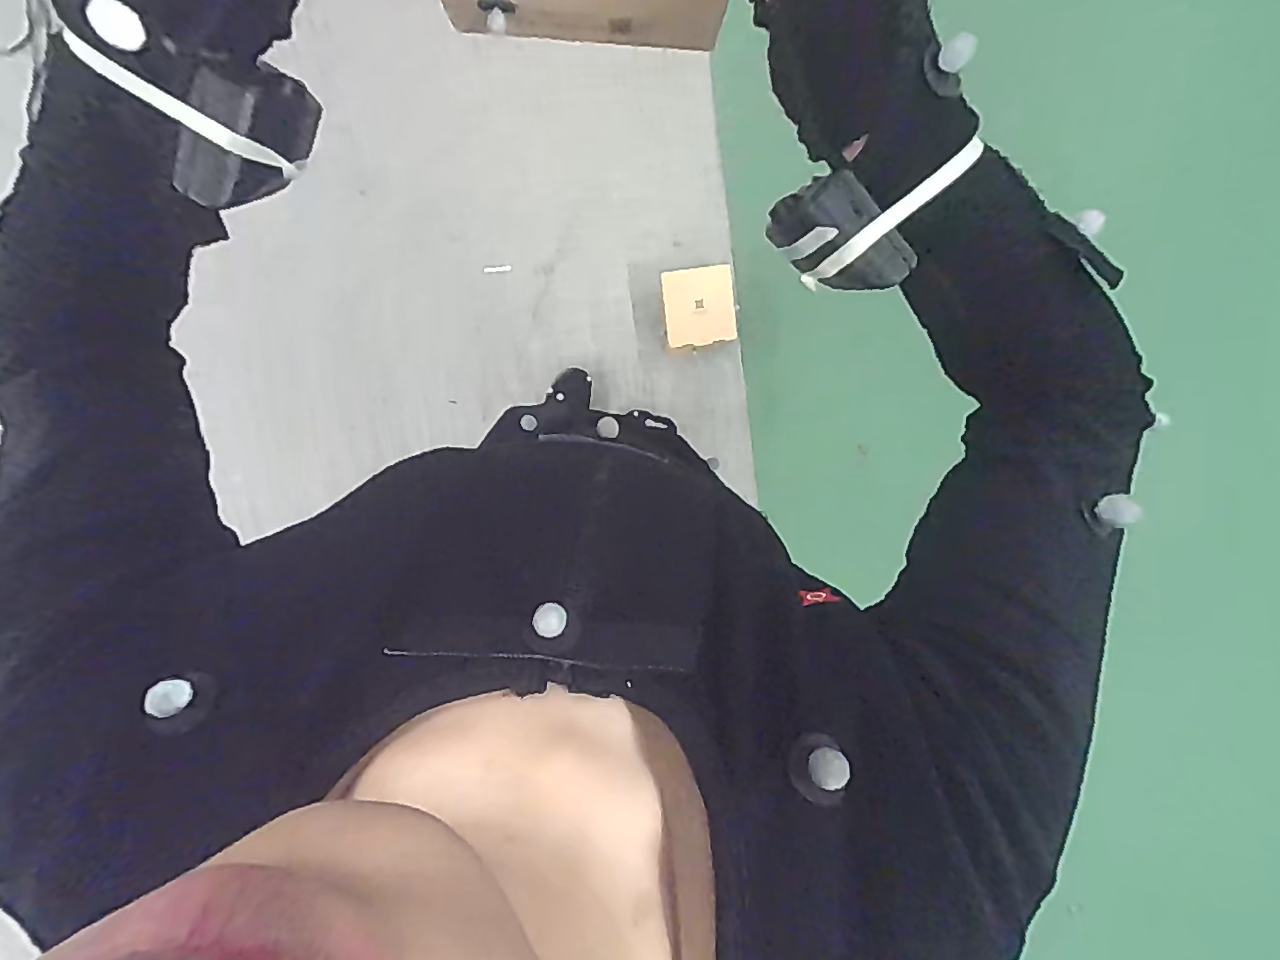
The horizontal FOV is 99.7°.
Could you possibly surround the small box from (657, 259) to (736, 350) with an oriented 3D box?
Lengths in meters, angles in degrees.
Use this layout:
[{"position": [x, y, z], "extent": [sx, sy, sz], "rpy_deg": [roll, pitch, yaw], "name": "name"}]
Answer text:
[{"position": [0.135, -0.428, 1.341], "extent": [0.168, 0.176, 0.179], "rpy_deg": [-7, 98, 2], "name": "small box"}]
